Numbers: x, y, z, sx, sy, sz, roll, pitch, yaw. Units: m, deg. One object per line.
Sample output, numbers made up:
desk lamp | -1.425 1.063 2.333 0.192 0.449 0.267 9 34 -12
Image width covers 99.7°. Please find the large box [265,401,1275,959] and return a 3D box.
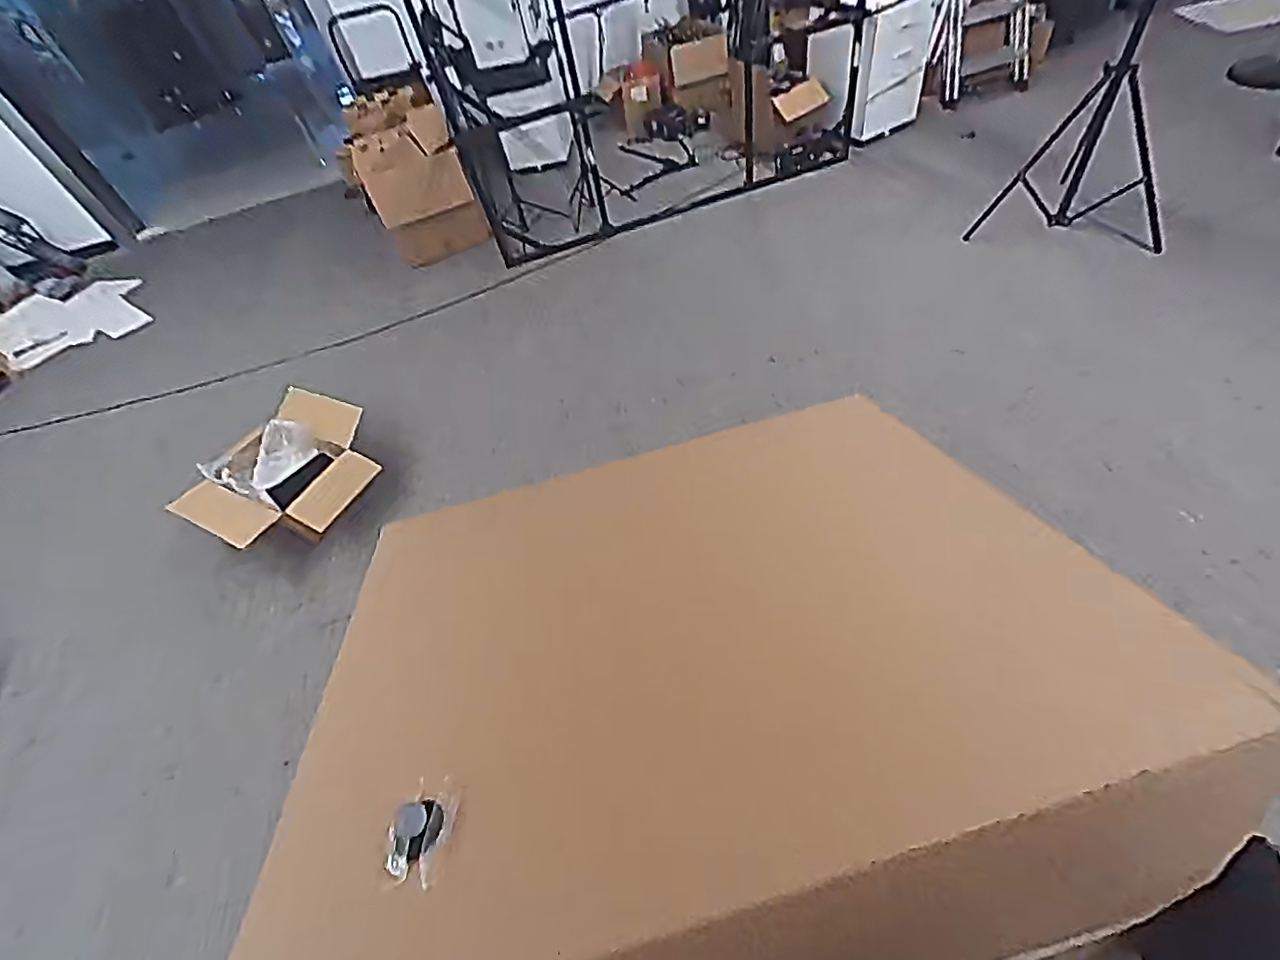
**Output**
large box | 0.054 0.181 0.399 0.408 0.320 0.320 -16 33 -3
